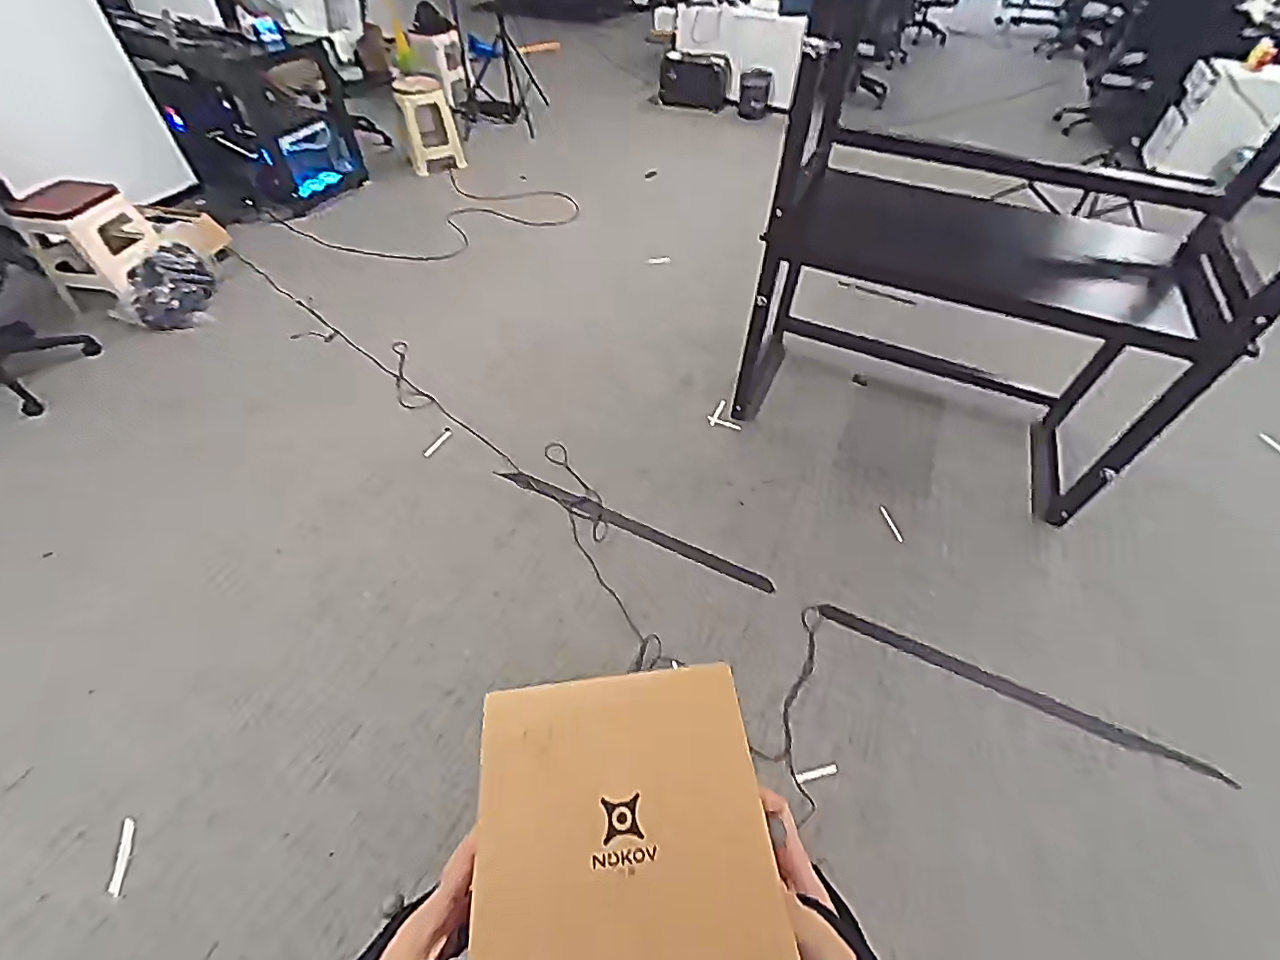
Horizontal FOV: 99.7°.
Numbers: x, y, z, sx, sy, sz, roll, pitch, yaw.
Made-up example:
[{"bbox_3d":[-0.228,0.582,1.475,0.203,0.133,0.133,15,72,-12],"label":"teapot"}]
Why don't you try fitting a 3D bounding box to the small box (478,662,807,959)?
[{"bbox_3d":[-0.007,0.248,0.365,0.168,0.176,0.179,-6,50,-5],"label":"small box"}]
